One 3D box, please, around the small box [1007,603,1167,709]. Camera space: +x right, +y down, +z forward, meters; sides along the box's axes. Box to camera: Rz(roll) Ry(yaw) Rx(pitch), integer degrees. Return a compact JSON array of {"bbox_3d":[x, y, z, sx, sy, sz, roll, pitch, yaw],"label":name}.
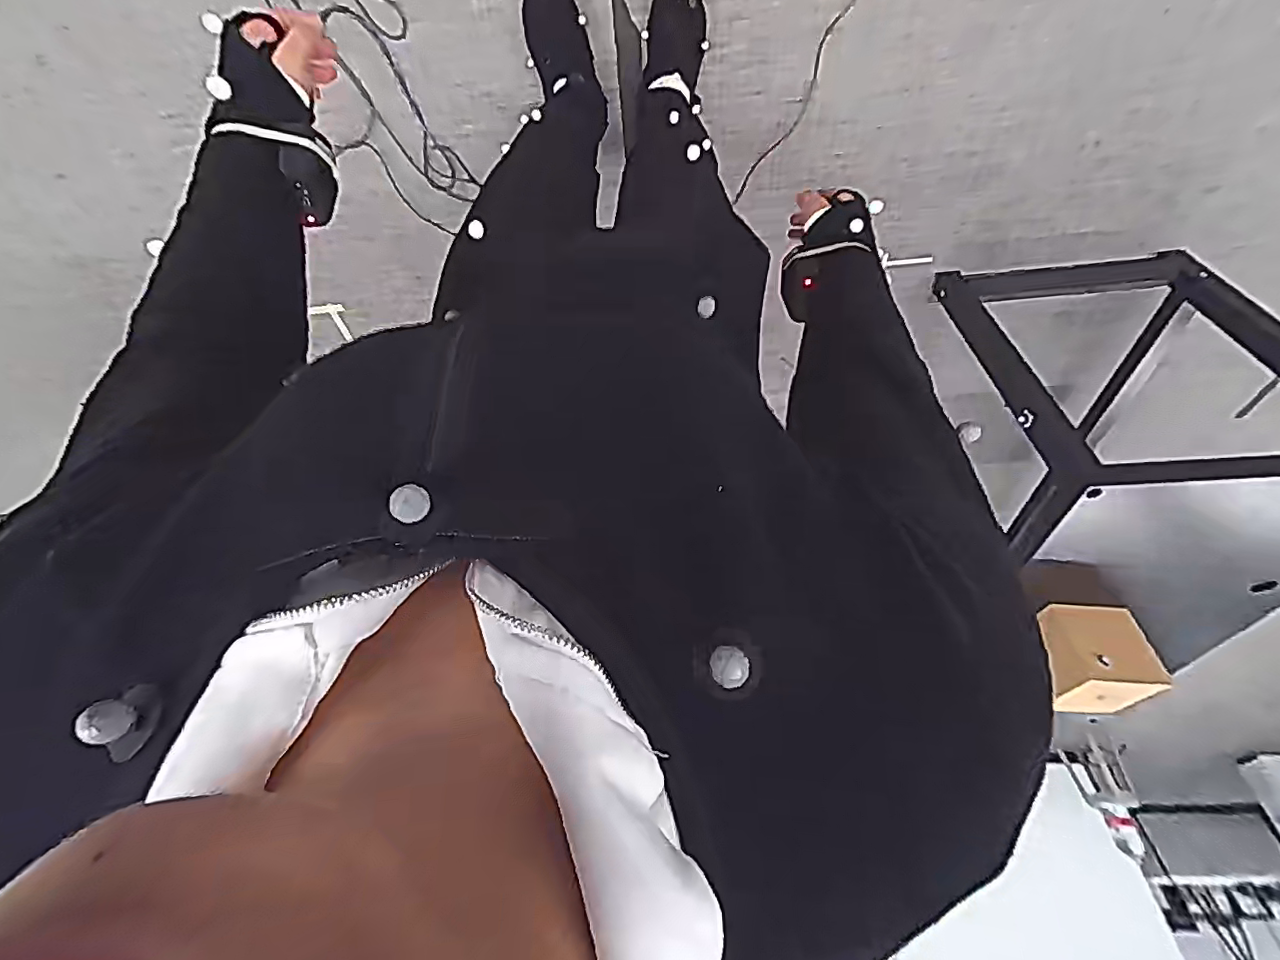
[{"bbox_3d":[0.952,0.381,1.175,0.179,0.176,0.168,4,139,-4],"label":"small box"}]
